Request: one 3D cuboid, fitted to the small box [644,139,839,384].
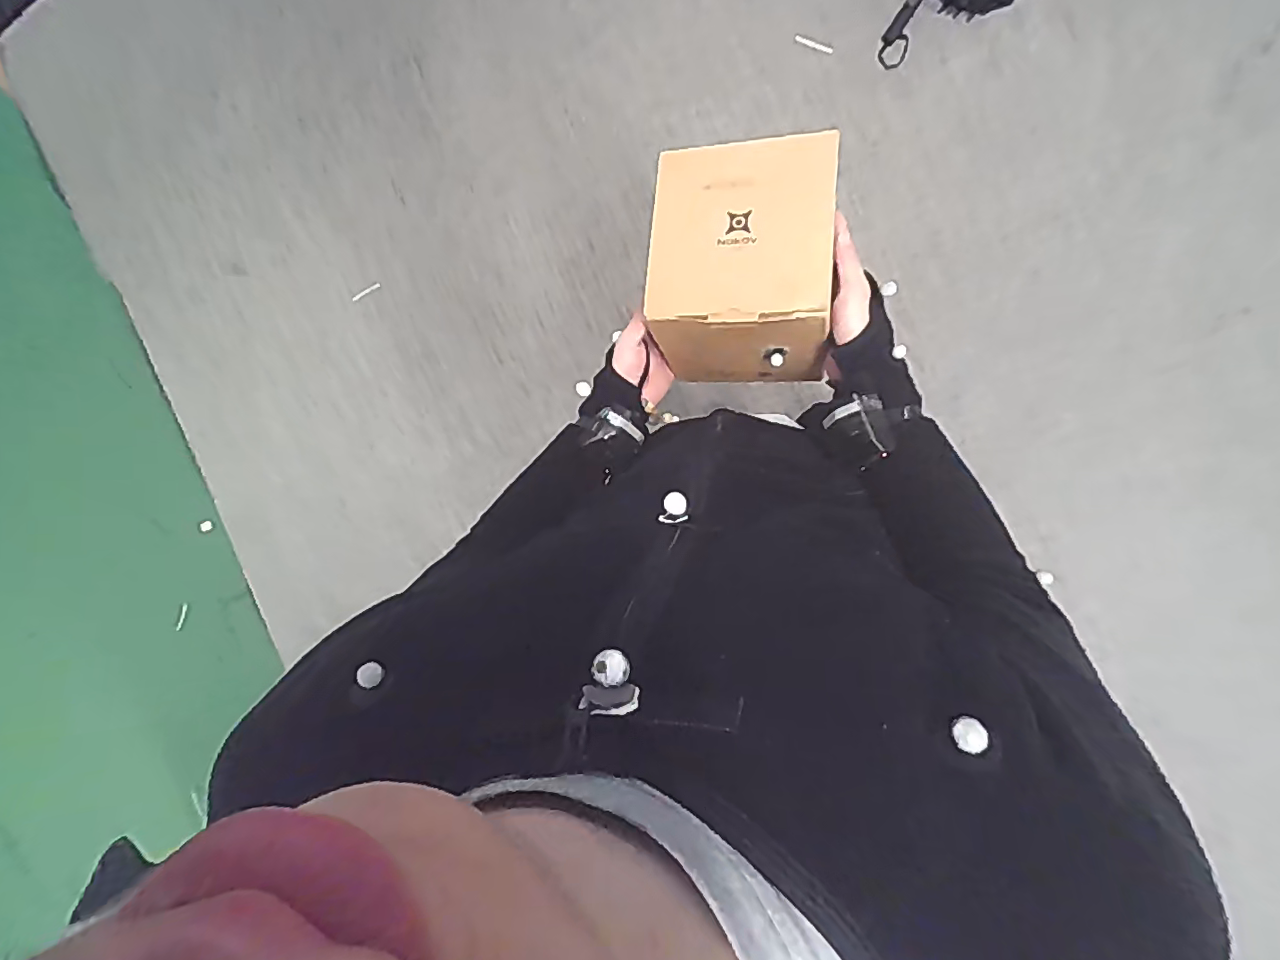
[{"bbox_3d":[0.111,-0.209,0.565,0.168,0.176,0.179,3,78,15],"label":"small box"}]
